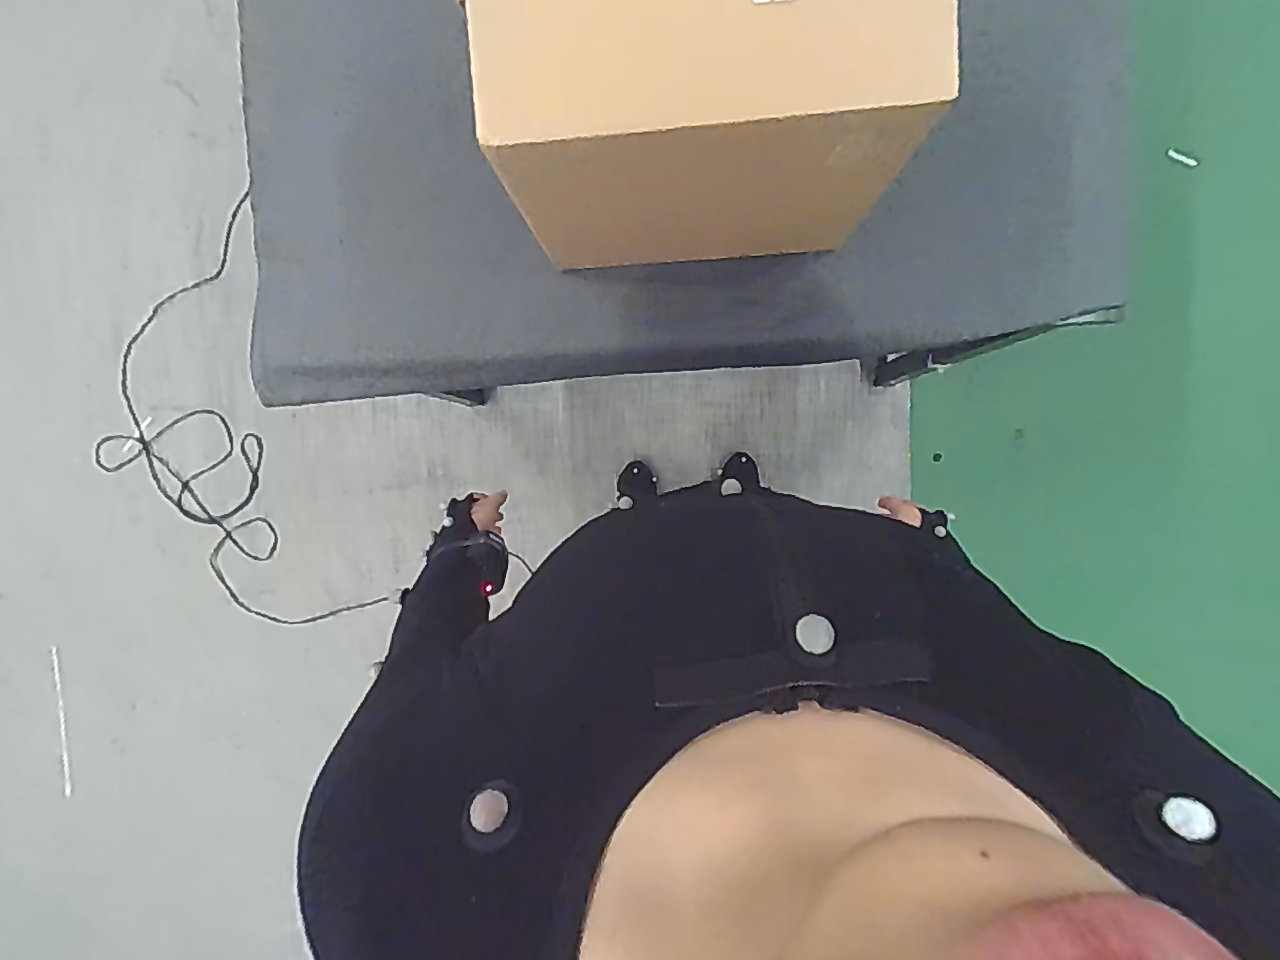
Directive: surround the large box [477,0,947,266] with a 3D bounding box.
[{"bbox_3d":[0.058,-0.467,0.613,0.408,0.320,0.320,-4,92,3],"label":"large box"}]
